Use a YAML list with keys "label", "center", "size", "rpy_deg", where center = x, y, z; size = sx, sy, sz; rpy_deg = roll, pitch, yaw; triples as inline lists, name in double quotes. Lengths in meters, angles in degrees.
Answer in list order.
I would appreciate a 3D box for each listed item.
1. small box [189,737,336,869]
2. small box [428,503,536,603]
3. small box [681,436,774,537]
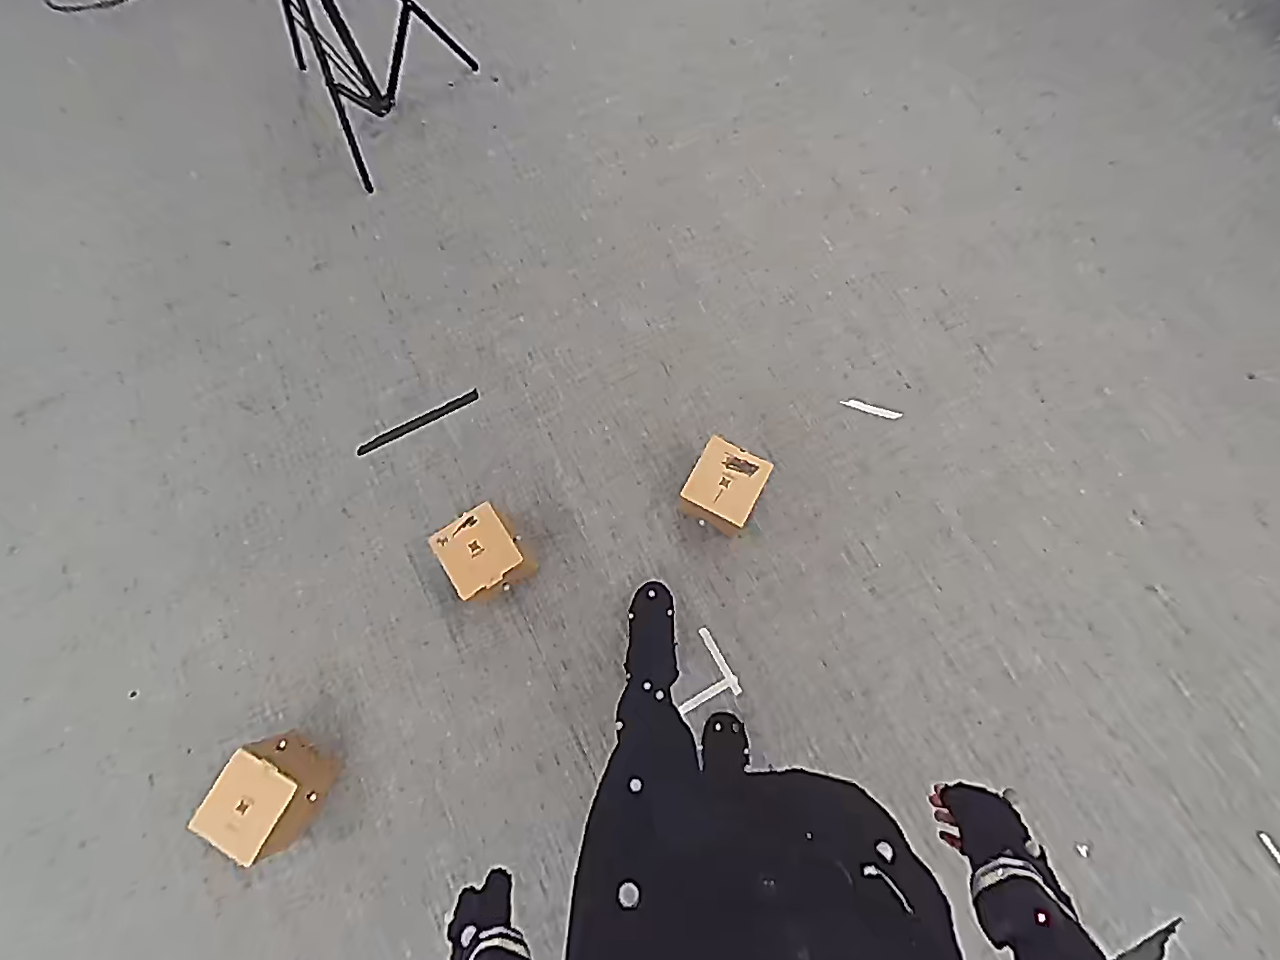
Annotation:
- label: "small box"
  center: [-0.814, 0.696, 1.192]
  size: [0.168, 0.176, 0.179]
  rpy_deg: [25, 77, 9]
- label: "small box"
  center: [-0.375, 0.183, 1.320]
  size: [0.168, 0.176, 0.179]
  rpy_deg: [-33, 77, -8]
- label: "small box"
  center: [0.208, 0.023, 1.349]
  size: [0.168, 0.176, 0.179]
  rpy_deg: [28, 78, 9]
